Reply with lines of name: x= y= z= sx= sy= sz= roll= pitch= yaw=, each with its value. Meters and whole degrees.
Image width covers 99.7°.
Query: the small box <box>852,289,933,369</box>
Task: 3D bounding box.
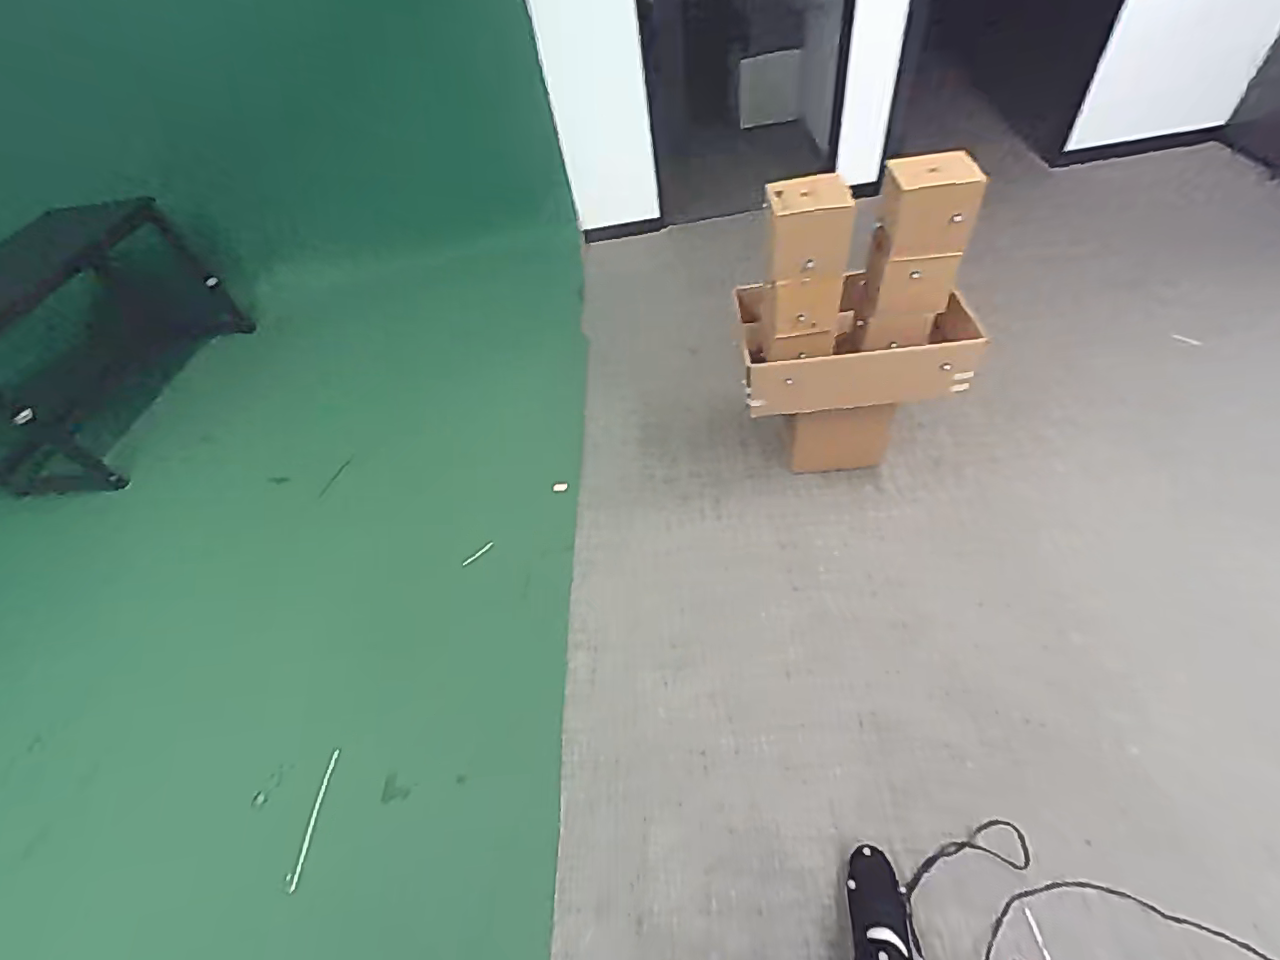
small box: x=0.715 y=-0.433 z=1.550 sx=0.168 sy=0.176 sz=0.179 roll=-2 pitch=50 yaw=10

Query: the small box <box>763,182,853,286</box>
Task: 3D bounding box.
small box: x=0.402 y=-0.598 z=1.321 sx=0.179 sy=0.176 sz=0.168 roll=-4 pitch=50 yaw=7

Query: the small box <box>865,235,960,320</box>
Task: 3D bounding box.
small box: x=0.703 y=-0.537 z=1.422 sx=0.179 sy=0.176 sz=0.168 roll=-2 pitch=51 yaw=9

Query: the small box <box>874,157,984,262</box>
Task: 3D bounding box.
small box: x=0.684 y=-0.647 z=1.304 sx=0.179 sy=0.176 sz=0.168 roll=-3 pitch=50 yaw=9
